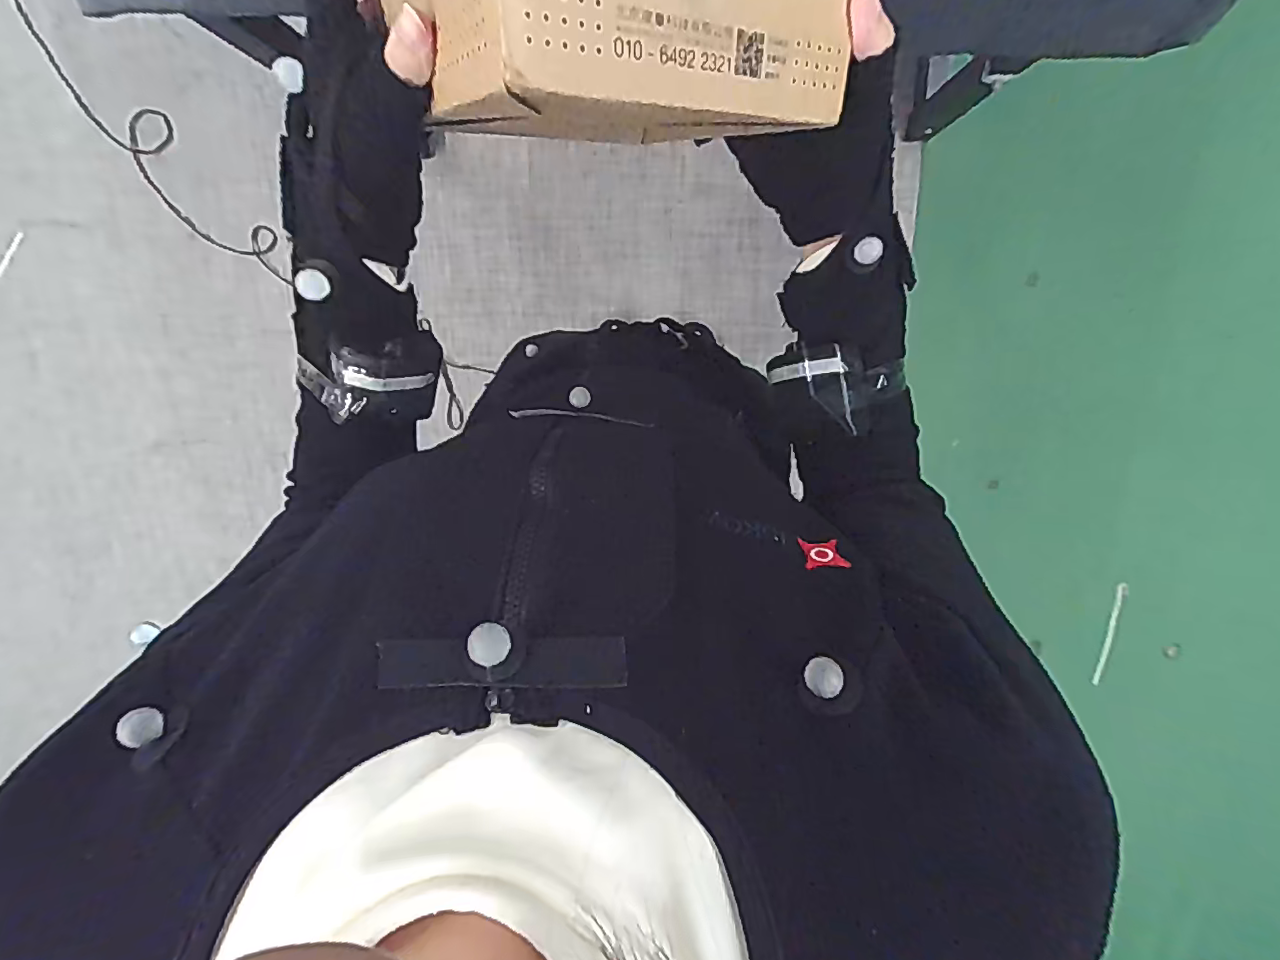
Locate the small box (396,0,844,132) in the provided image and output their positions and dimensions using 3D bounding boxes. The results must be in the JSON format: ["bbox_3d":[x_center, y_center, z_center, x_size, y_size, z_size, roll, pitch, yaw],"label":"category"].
[{"bbox_3d":[-0.019,-0.266,0.250,0.168,0.179,0.176,-16,123,-28],"label":"small box"}]
